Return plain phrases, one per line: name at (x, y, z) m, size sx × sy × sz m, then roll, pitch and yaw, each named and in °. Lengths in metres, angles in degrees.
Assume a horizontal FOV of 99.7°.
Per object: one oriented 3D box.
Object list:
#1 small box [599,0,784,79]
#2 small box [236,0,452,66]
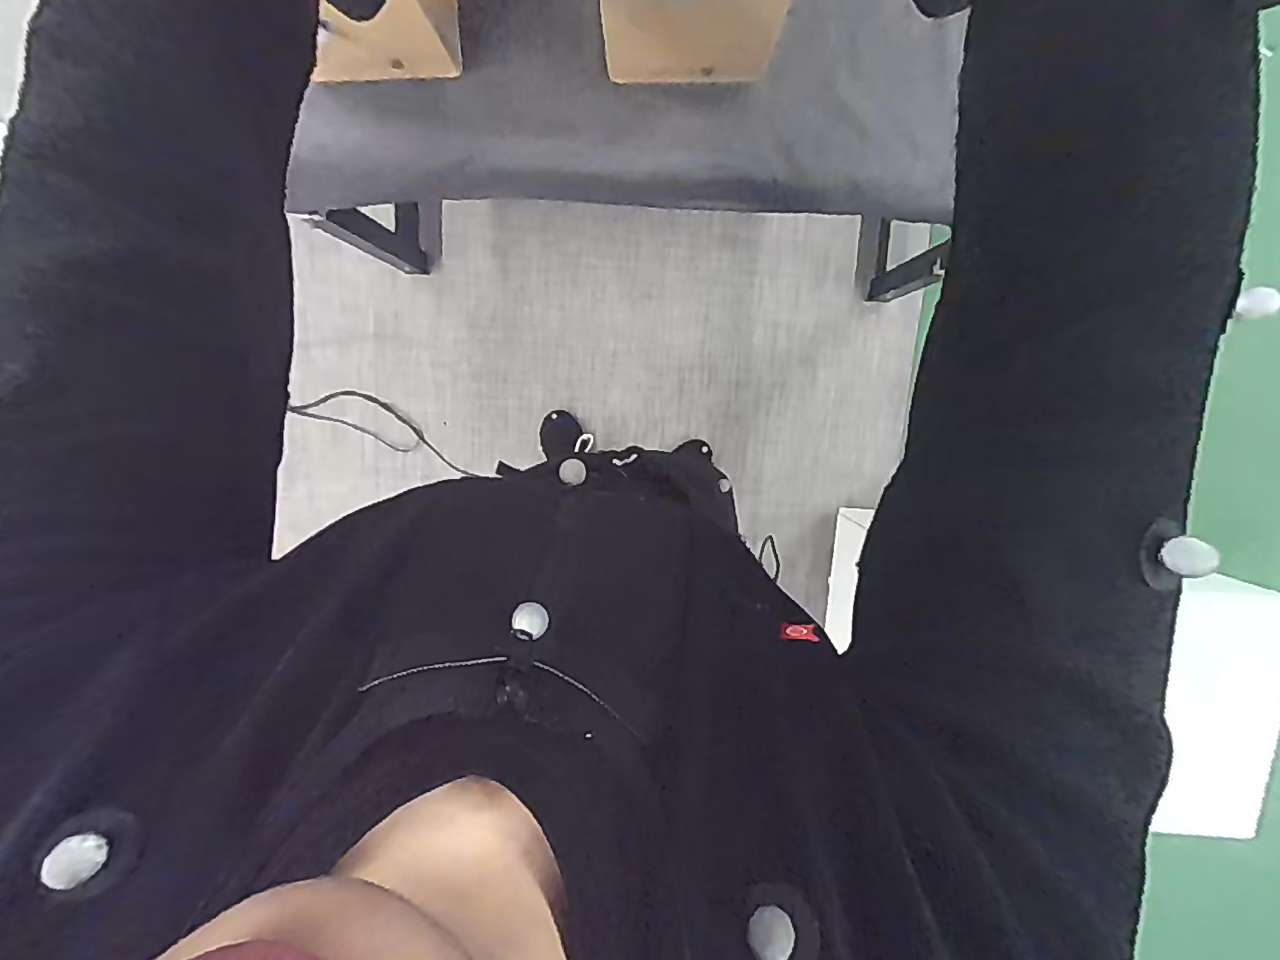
small box at (0.045, -0.507, 0.486) m, size 0.168 × 0.176 × 0.179 m, roll 0°, pitch 98°, yaw 0°
small box at (-0.279, -0.508, 0.483) m, size 0.168 × 0.176 × 0.179 m, roll -2°, pitch 98°, yaw 0°
